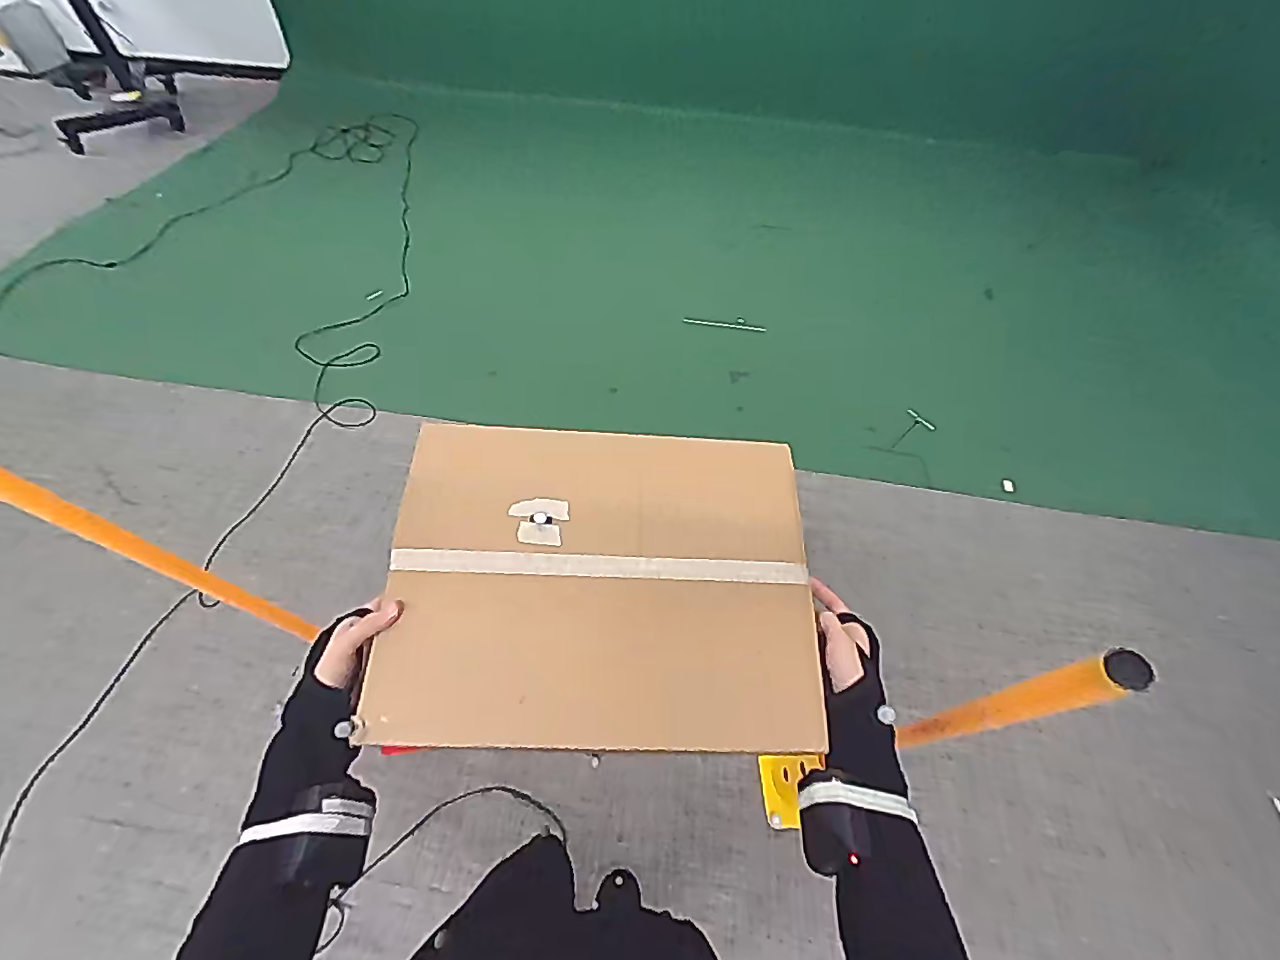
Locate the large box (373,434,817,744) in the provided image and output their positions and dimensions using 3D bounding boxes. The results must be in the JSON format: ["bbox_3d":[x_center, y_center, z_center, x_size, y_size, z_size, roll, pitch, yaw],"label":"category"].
[{"bbox_3d":[-0.043,0.156,0.678,0.408,0.320,0.320,2,62,-3],"label":"large box"}]
